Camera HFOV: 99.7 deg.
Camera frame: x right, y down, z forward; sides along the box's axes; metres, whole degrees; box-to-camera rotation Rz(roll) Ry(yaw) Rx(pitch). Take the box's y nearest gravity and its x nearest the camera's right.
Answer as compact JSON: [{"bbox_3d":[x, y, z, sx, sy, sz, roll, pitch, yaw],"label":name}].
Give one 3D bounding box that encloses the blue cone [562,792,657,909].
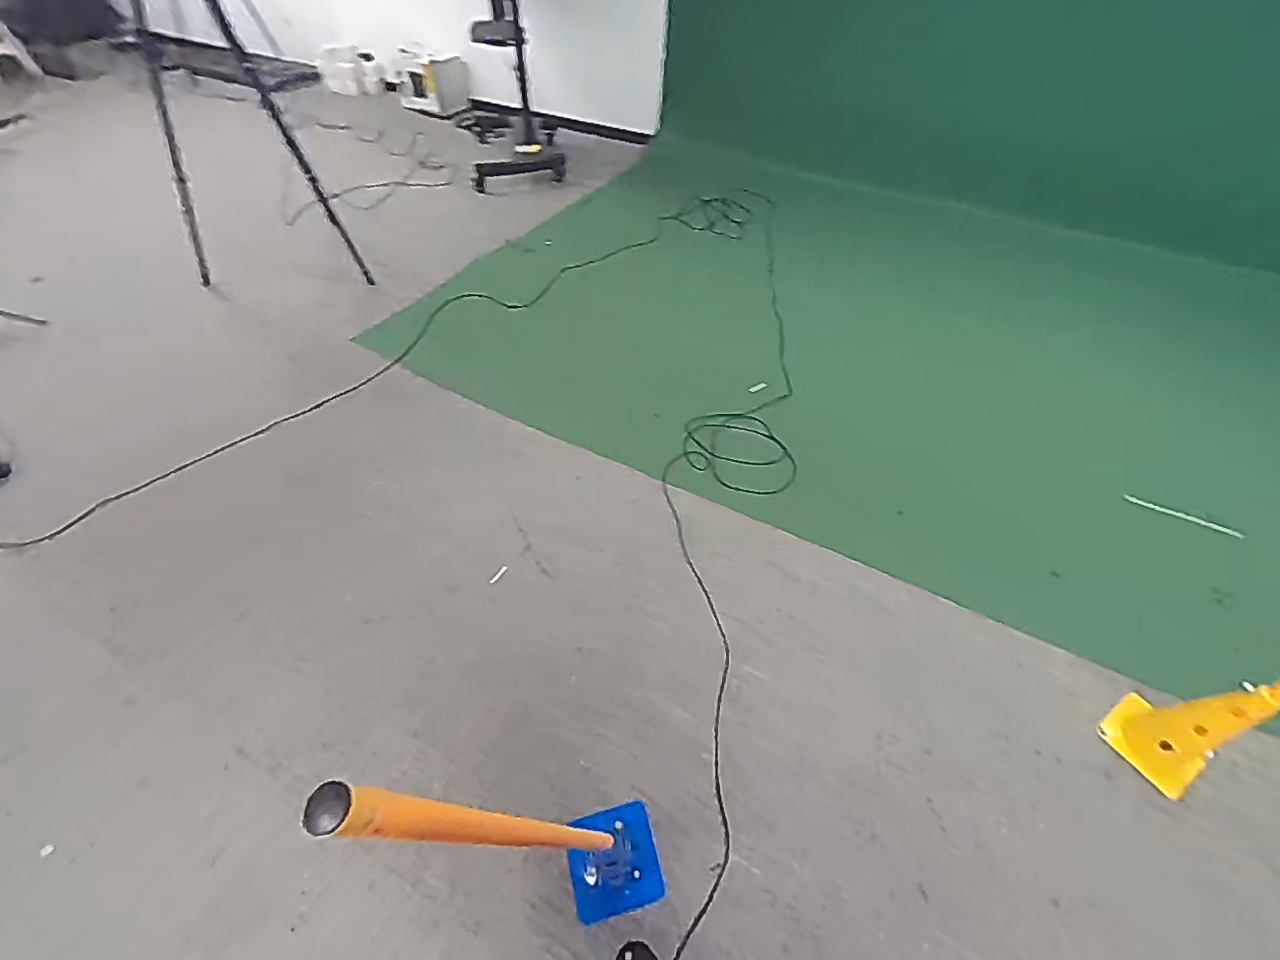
[{"bbox_3d":[-0.069,0.734,1.094,0.193,0.380,0.192,-13,53,-10],"label":"blue cone"}]
